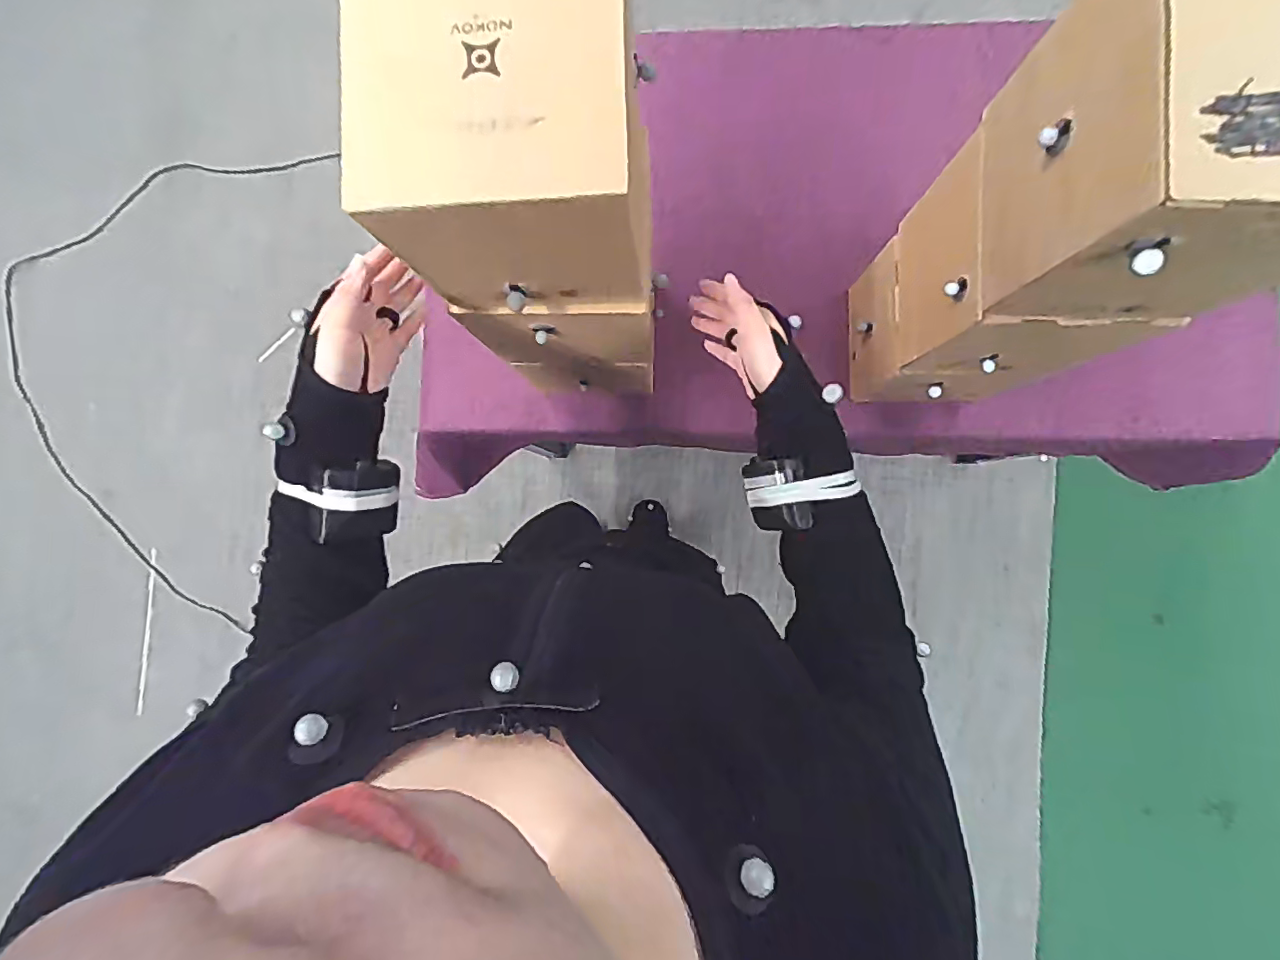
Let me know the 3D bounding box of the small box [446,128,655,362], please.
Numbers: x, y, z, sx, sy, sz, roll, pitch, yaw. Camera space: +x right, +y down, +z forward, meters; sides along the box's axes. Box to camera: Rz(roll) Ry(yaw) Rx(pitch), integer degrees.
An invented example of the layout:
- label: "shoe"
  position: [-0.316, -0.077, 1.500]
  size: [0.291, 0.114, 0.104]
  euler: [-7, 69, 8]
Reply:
- label: "small box"
  position: [-0.076, -0.221, 0.548]
  size: [0.179, 0.176, 0.168]
  euler: [1, 88, 2]

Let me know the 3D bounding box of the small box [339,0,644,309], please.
- label: "small box"
  position: [-0.085, -0.238, 0.386]
  size: [0.168, 0.176, 0.179]
  euler: [-1, 88, 4]

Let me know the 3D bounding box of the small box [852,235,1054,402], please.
- label: "small box"
  position: [0.380, -0.195, 0.687]
  size: [0.179, 0.176, 0.168]
  euler: [0, 88, 4]

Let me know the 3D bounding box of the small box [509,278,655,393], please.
- label: "small box"
  position: [-0.066, -0.215, 0.713]
  size: [0.168, 0.176, 0.179]
  euler: [2, 87, 3]

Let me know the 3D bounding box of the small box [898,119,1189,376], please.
- label: "small box"
  position: [0.368, -0.209, 0.525]
  size: [0.168, 0.176, 0.179]
  euler: [2, 88, 3]
